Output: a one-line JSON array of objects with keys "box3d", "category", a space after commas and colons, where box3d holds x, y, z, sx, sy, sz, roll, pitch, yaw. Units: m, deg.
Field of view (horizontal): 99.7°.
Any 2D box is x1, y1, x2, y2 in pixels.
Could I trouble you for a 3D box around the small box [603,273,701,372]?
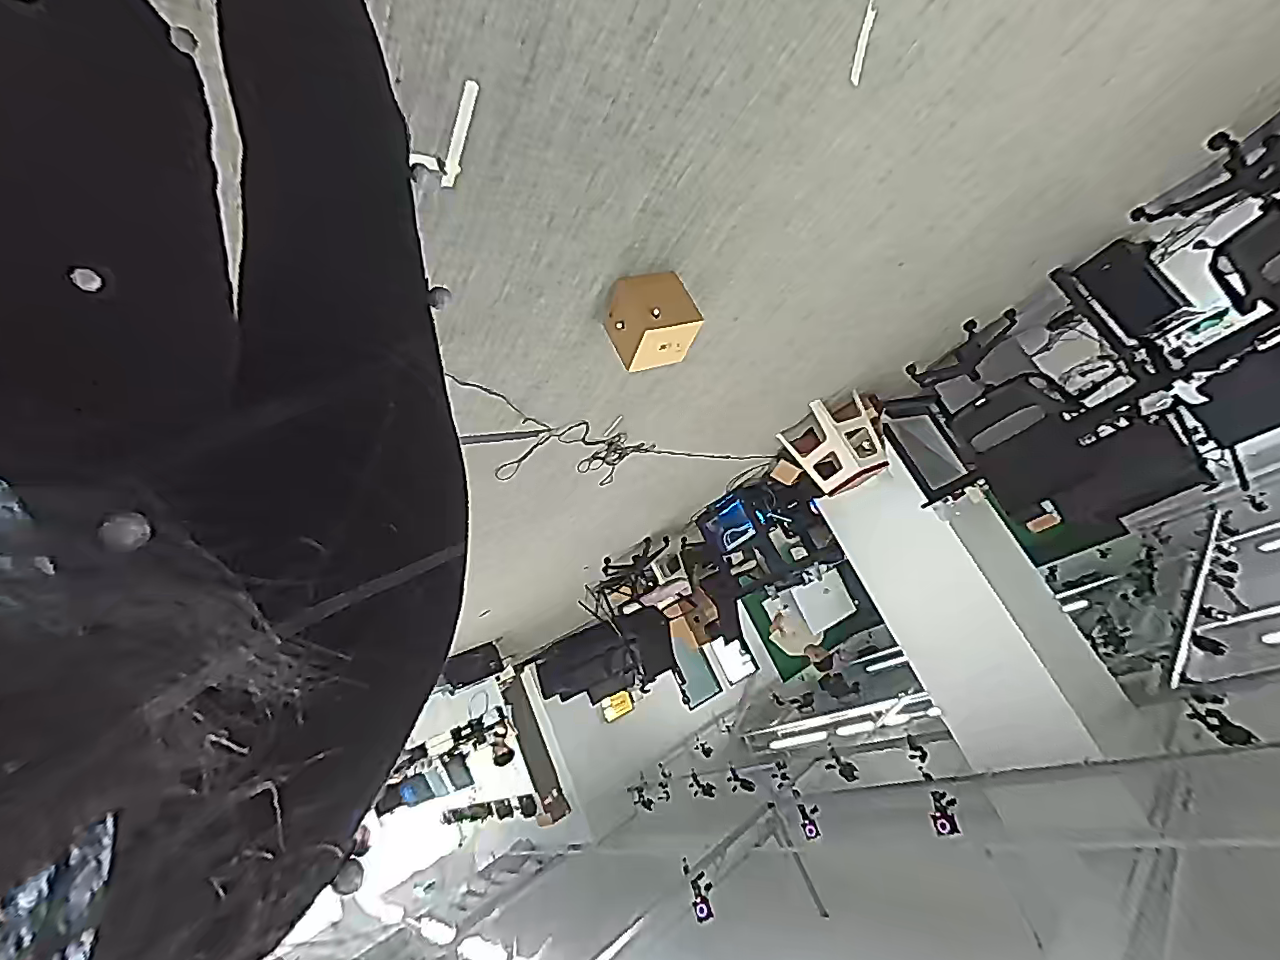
[{"box3d": [0.023, -0.410, 1.403, 0.179, 0.176, 0.168, -18, 161, -26], "category": "small box"}]
